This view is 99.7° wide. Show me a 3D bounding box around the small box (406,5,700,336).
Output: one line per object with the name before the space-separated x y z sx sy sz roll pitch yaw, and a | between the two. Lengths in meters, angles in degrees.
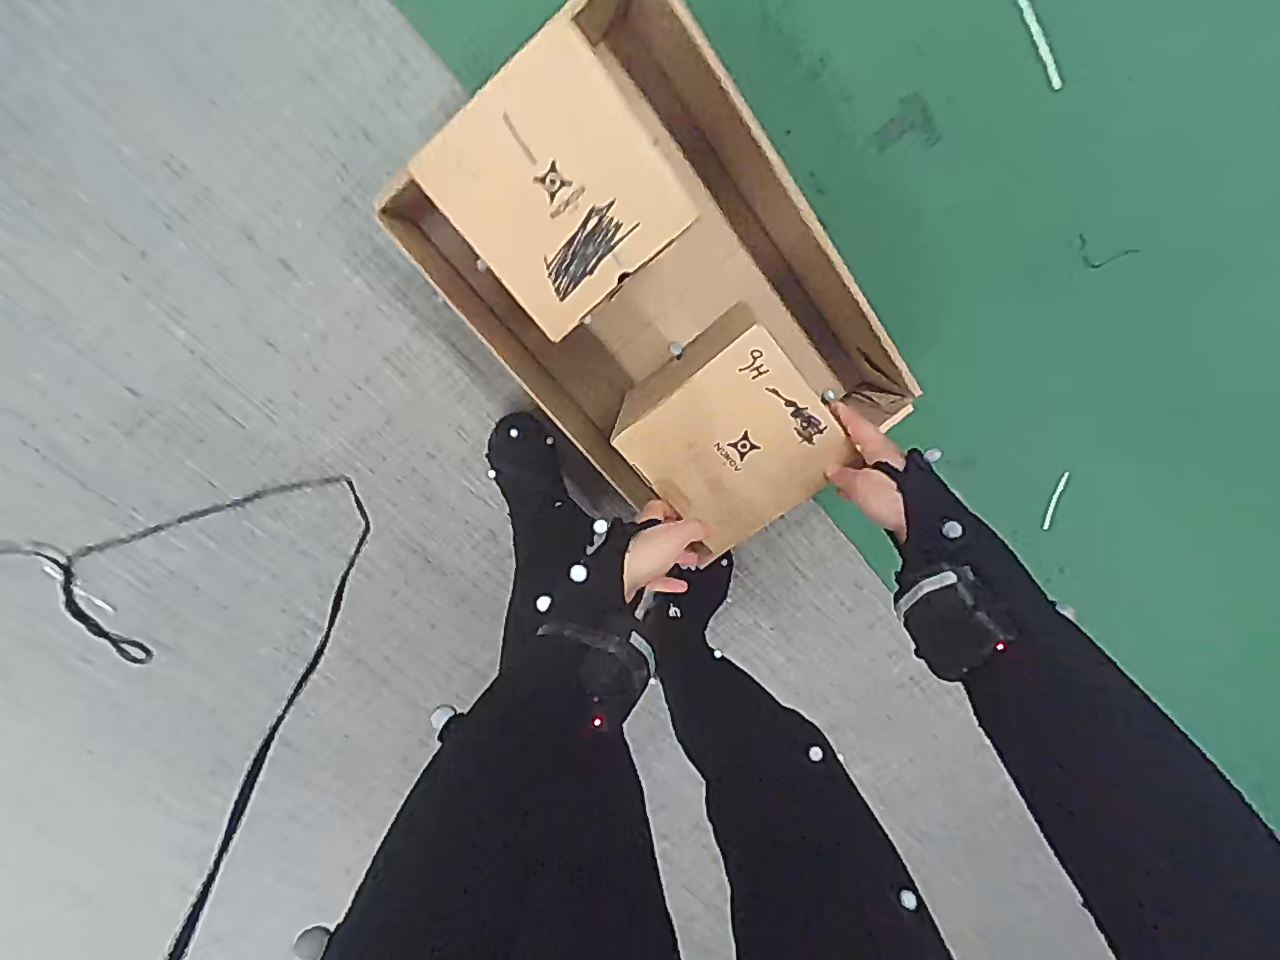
small box | -0.071 -0.261 0.501 0.168 0.176 0.179 -38 109 8

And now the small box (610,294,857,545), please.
small box | 0.094 -0.070 0.577 0.179 0.176 0.168 -37 109 21
